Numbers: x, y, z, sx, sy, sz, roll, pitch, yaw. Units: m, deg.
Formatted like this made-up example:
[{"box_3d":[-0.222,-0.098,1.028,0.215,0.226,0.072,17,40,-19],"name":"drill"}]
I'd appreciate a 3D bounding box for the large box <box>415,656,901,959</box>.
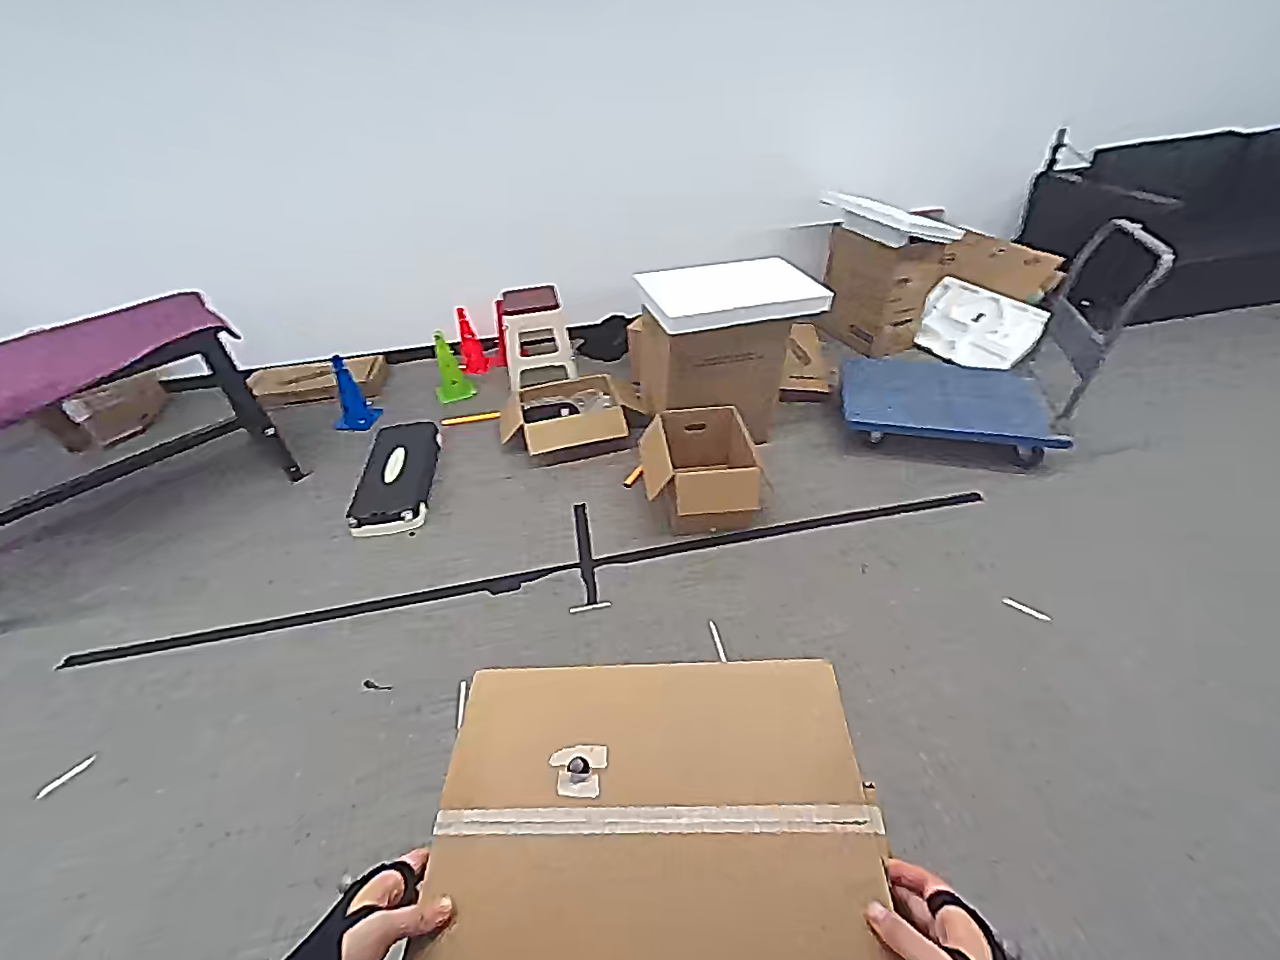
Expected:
[{"box_3d":[0.028,0.428,0.611,0.408,0.320,0.320,-6,42,6],"name":"large box"}]
